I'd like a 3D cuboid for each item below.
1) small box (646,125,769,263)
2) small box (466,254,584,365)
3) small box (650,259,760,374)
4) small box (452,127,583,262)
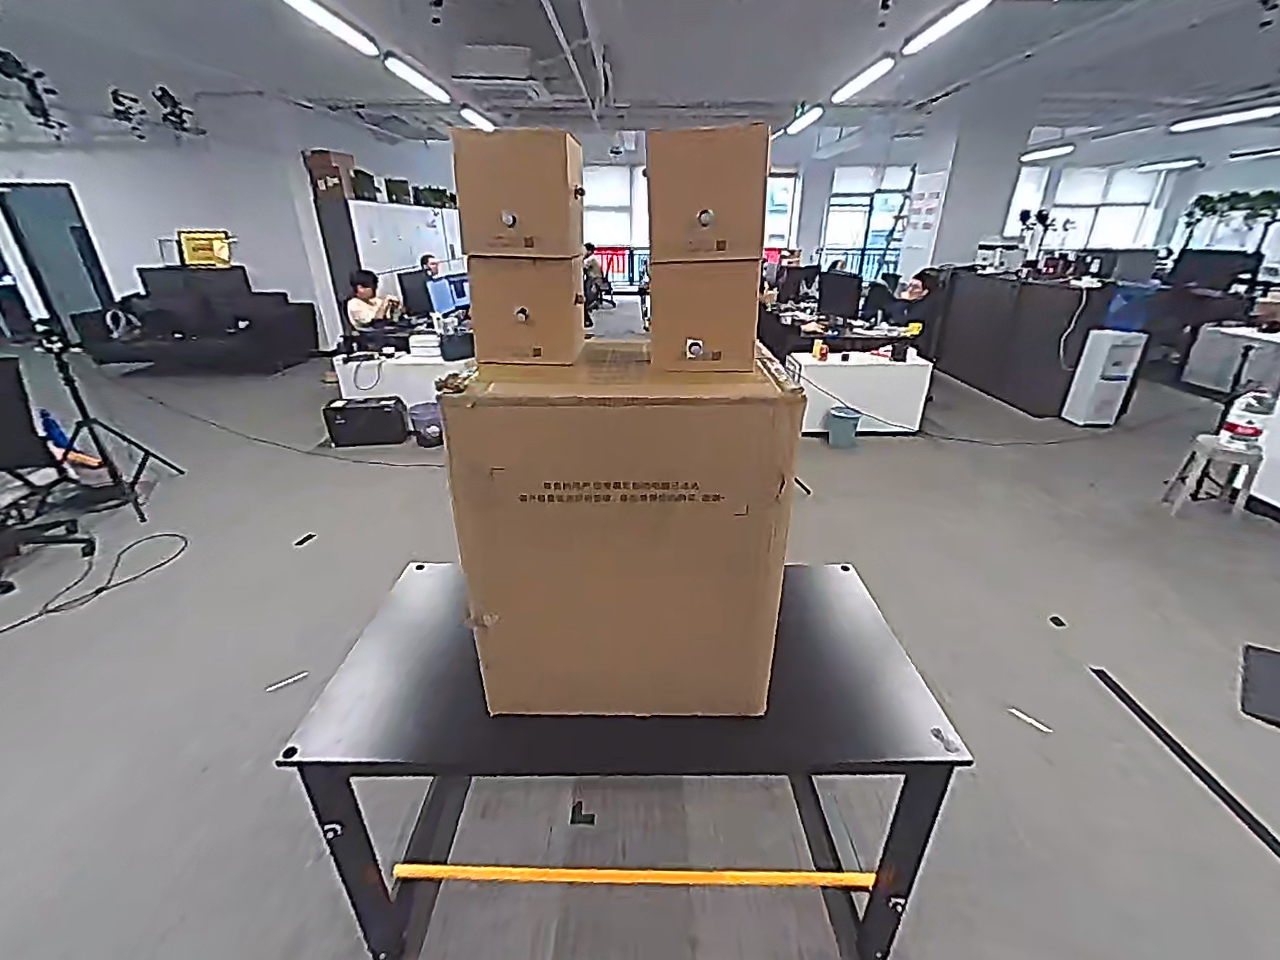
[{"bbox_3d":[0.099,-0.427,0.826,0.168,0.176,0.179,0,25,6],"label":"small box"},{"bbox_3d":[-0.188,-0.302,0.944,0.168,0.176,0.179,1,25,-1],"label":"small box"},{"bbox_3d":[0.102,-0.281,0.903,0.168,0.176,0.179,-1,26,4],"label":"small box"},{"bbox_3d":[-0.182,-0.445,0.859,0.168,0.176,0.179,2,25,1],"label":"small box"}]
